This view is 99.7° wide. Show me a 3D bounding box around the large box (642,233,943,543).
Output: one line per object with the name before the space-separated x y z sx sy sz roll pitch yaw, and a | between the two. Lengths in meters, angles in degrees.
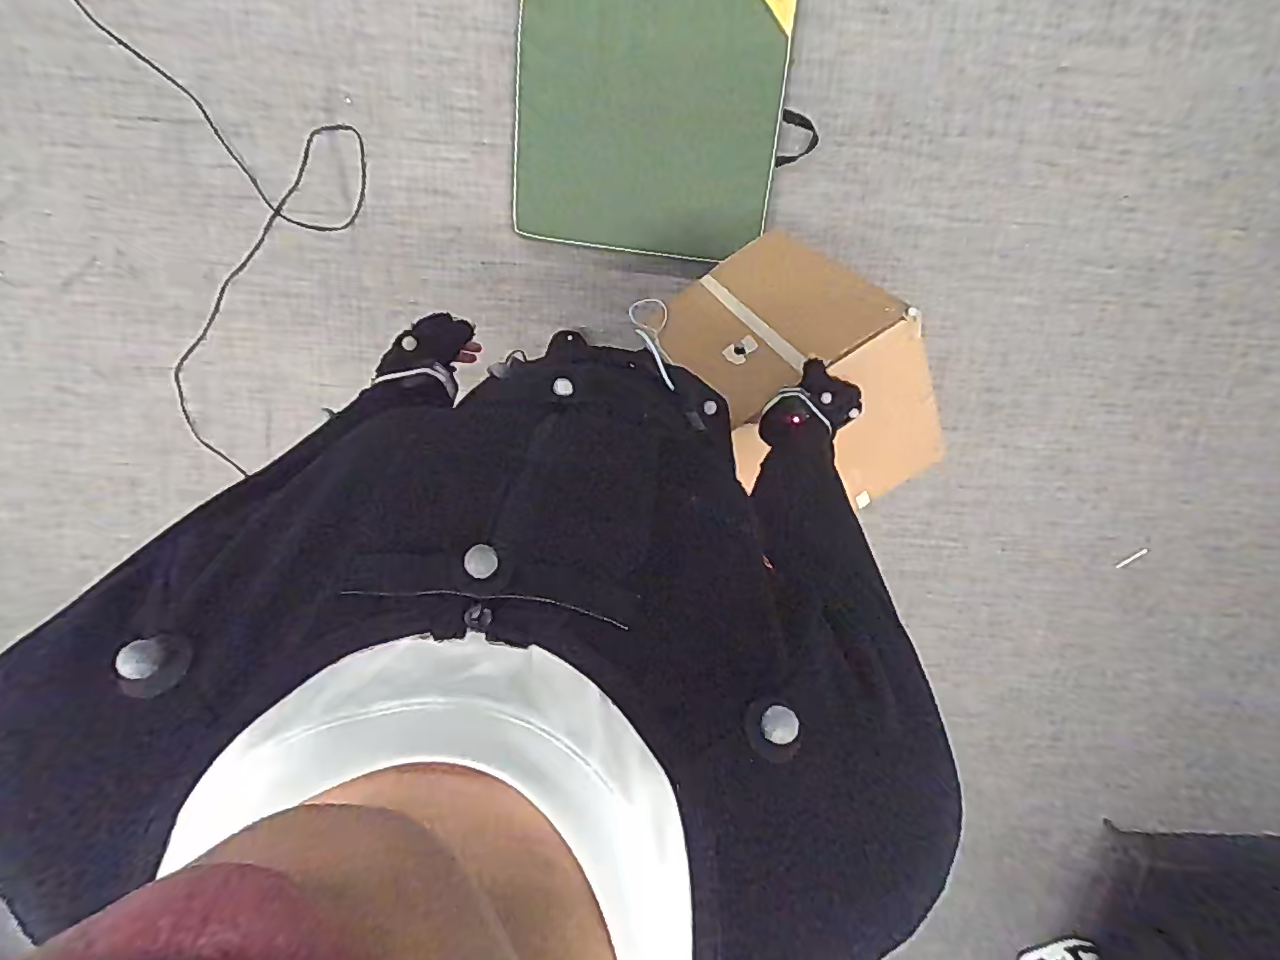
large box | 0.256 -0.171 0.964 0.320 0.408 0.320 -34 131 8
